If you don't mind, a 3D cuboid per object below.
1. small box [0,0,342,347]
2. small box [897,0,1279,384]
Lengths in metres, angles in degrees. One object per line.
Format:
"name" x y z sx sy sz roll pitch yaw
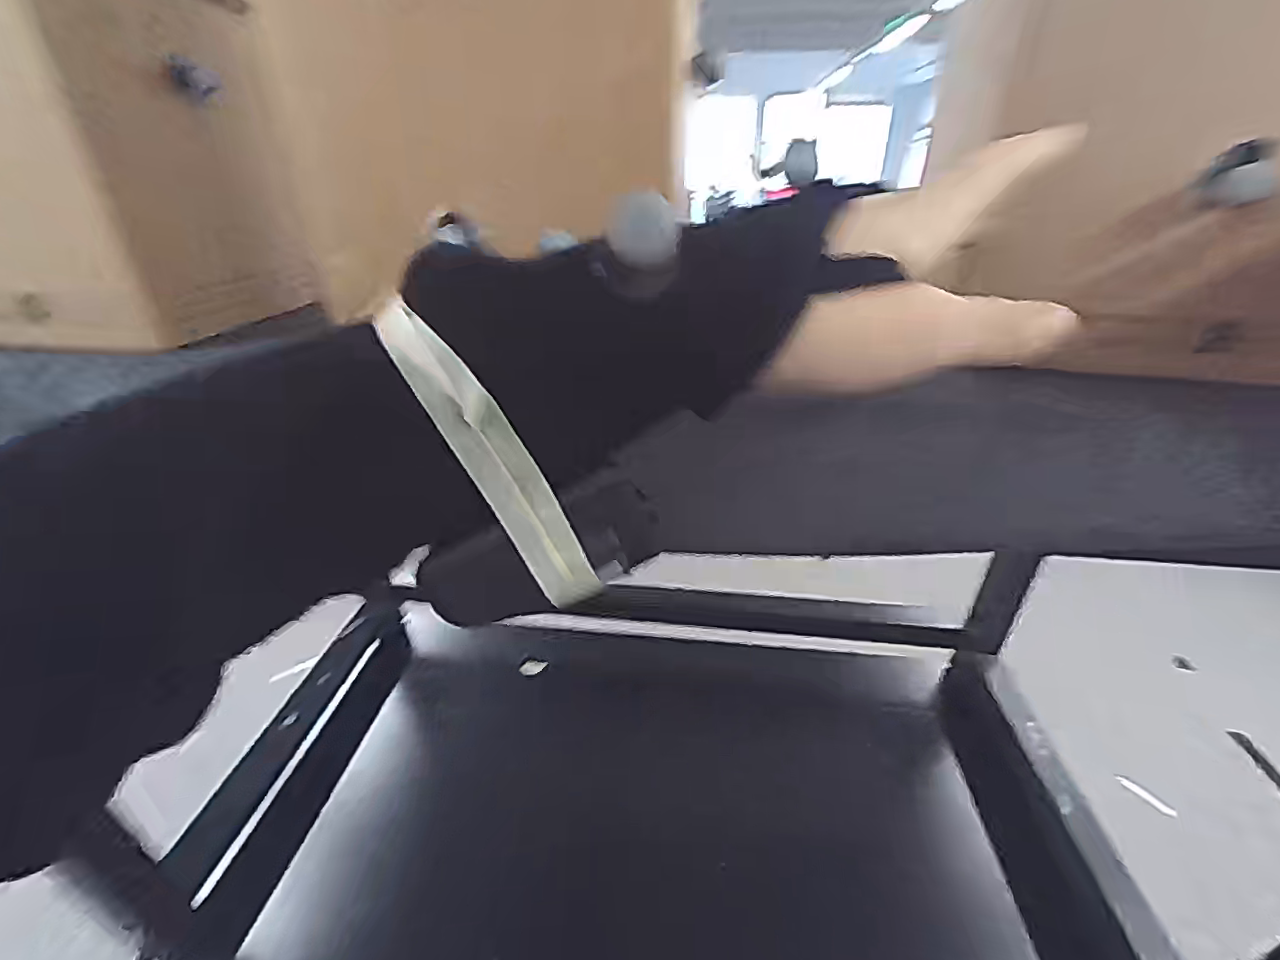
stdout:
"small box" -0.308 -0.180 0.316 0.168 0.176 0.179 3 28 3
"small box" 0.244 -0.156 0.273 0.168 0.176 0.179 7 30 13
